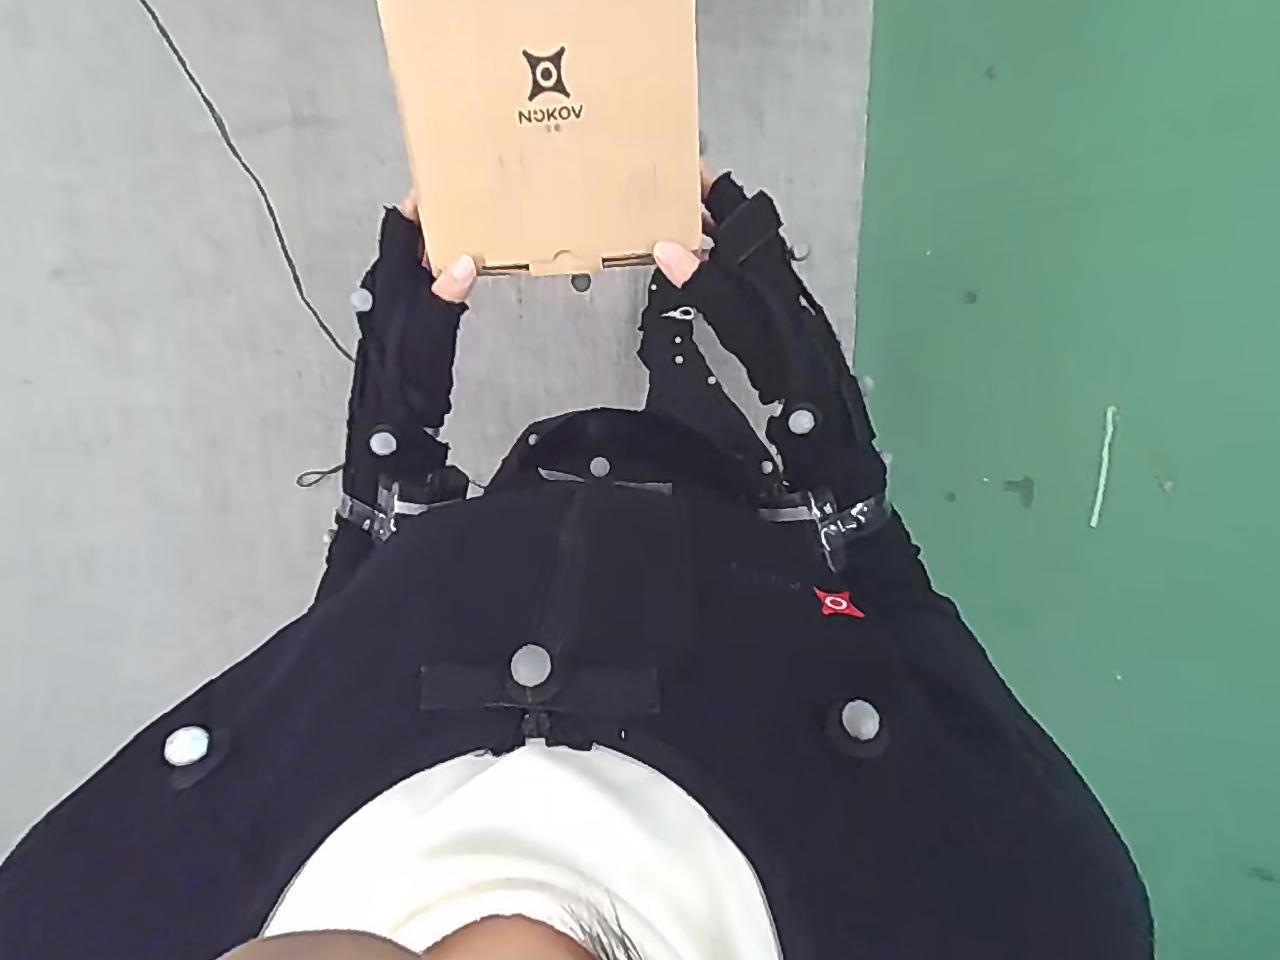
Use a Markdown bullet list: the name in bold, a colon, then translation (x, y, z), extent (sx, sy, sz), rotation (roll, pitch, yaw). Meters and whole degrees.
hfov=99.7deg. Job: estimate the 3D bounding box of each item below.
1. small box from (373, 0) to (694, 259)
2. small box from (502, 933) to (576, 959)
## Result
- **small box**: translation (-0.052, -0.252, 0.364), extent (0.168, 0.176, 0.179), rotation (-4, 113, 3)
- **small box**: translation (-0.246, 1.224, 1.284), extent (0.179, 0.176, 0.168), rotation (-1, 100, 3)
